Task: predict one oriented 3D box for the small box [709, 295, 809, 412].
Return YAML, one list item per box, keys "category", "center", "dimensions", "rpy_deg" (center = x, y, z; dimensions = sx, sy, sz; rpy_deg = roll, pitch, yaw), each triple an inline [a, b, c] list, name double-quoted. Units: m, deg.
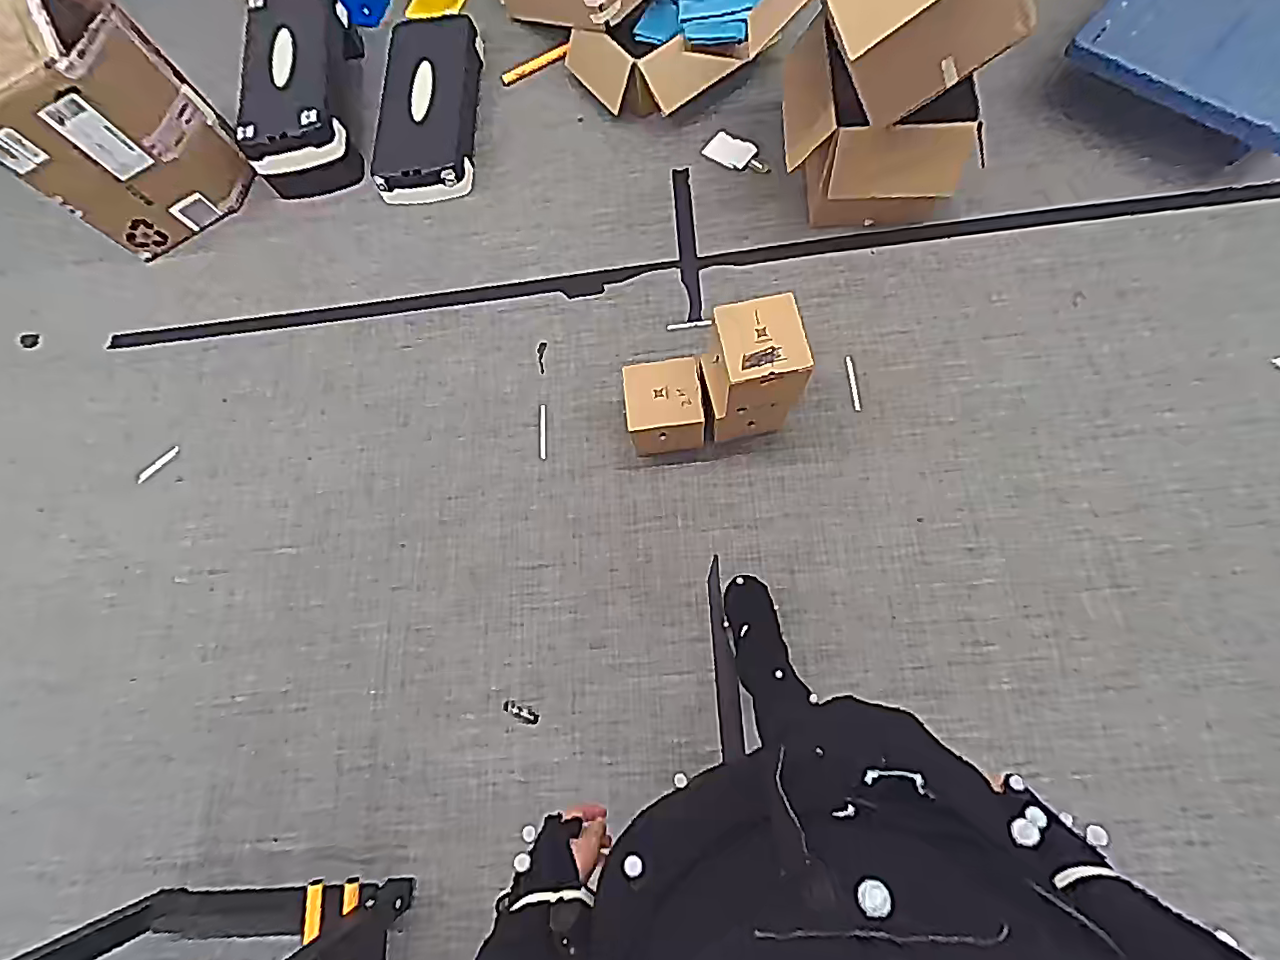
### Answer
- category: "small box"
  center: [0.243, -0.256, 1.142]
  dimensions: [0.168, 0.176, 0.179]
  rpy_deg: [-11, 72, 2]
